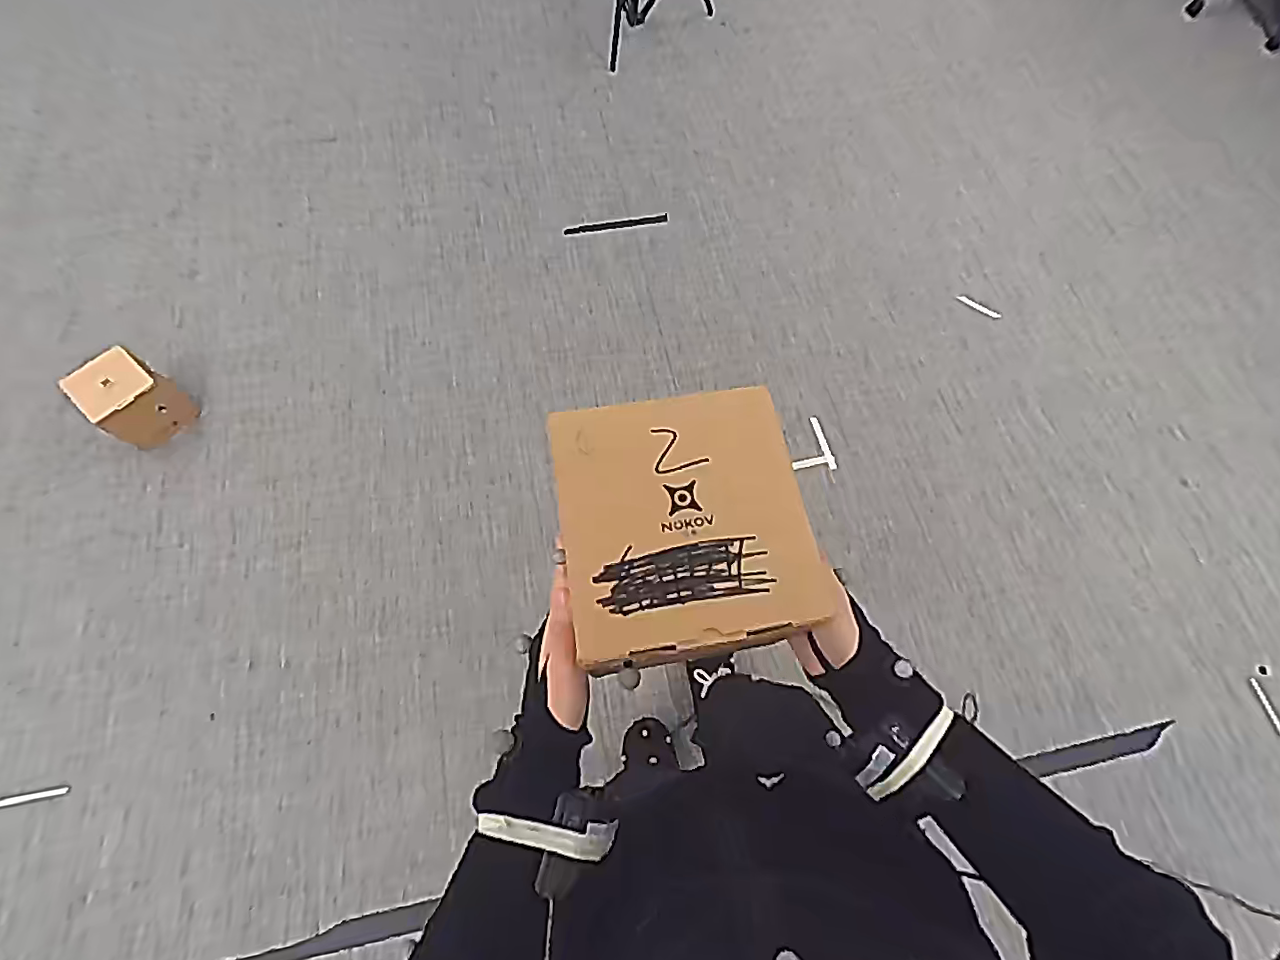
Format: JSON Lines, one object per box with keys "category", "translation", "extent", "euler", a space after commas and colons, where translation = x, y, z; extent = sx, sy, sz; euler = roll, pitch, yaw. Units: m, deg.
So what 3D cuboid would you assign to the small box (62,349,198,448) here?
{"category": "small box", "translation": [-1.351, -0.208, 1.448], "extent": [0.179, 0.176, 0.168], "euler": [39, 70, 13]}
